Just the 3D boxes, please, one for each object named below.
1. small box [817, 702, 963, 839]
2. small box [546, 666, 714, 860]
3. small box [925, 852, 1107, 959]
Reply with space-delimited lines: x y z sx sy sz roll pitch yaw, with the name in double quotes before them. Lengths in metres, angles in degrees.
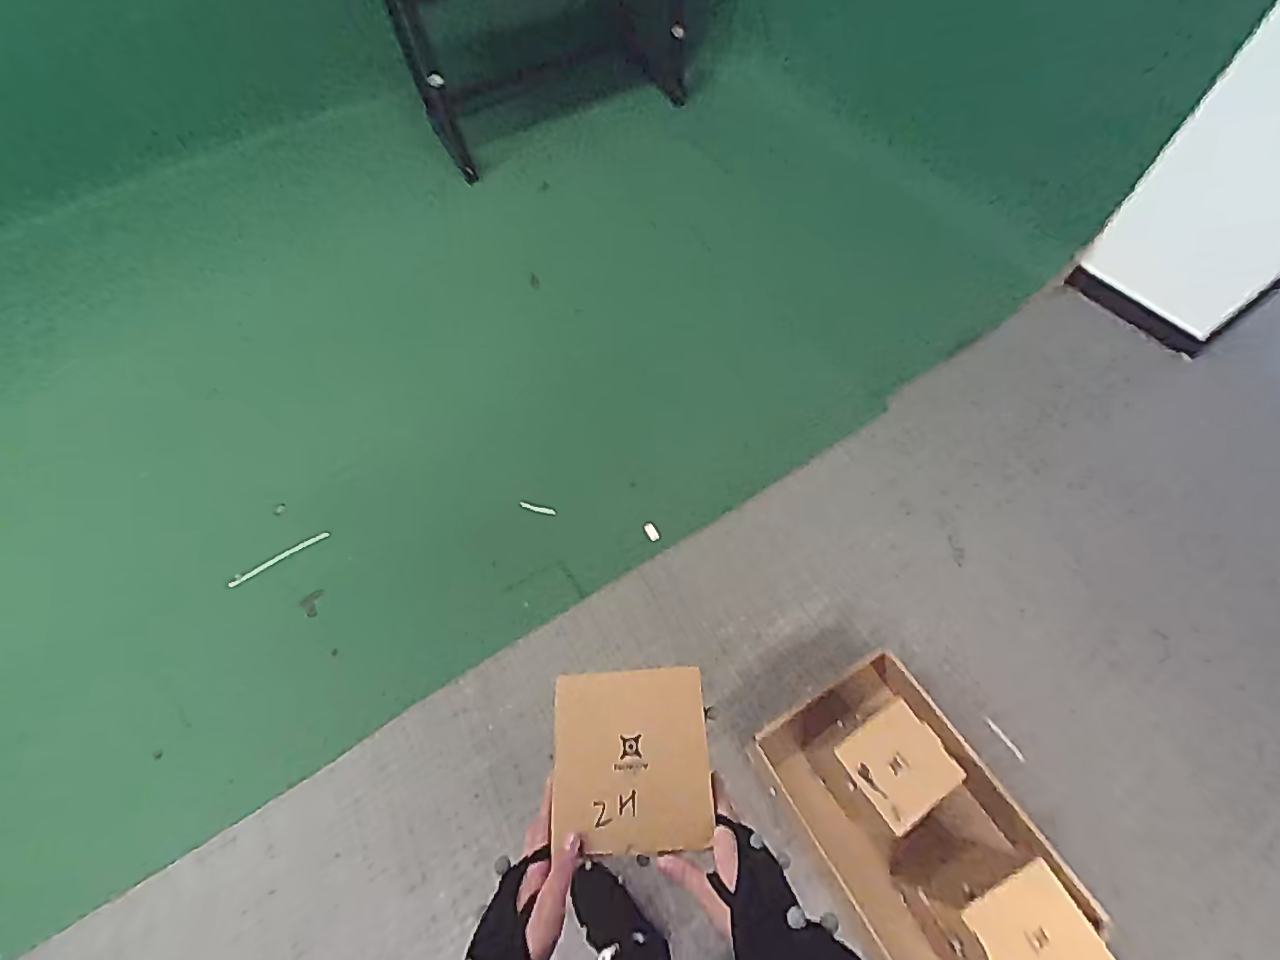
"small box" 0.480 0.568 1.069 0.179 0.176 0.168 -31 63 -13
"small box" -0.009 0.331 0.633 0.168 0.176 0.179 -5 59 2
"small box" 0.643 0.786 0.943 0.179 0.176 0.168 -26 64 -8
